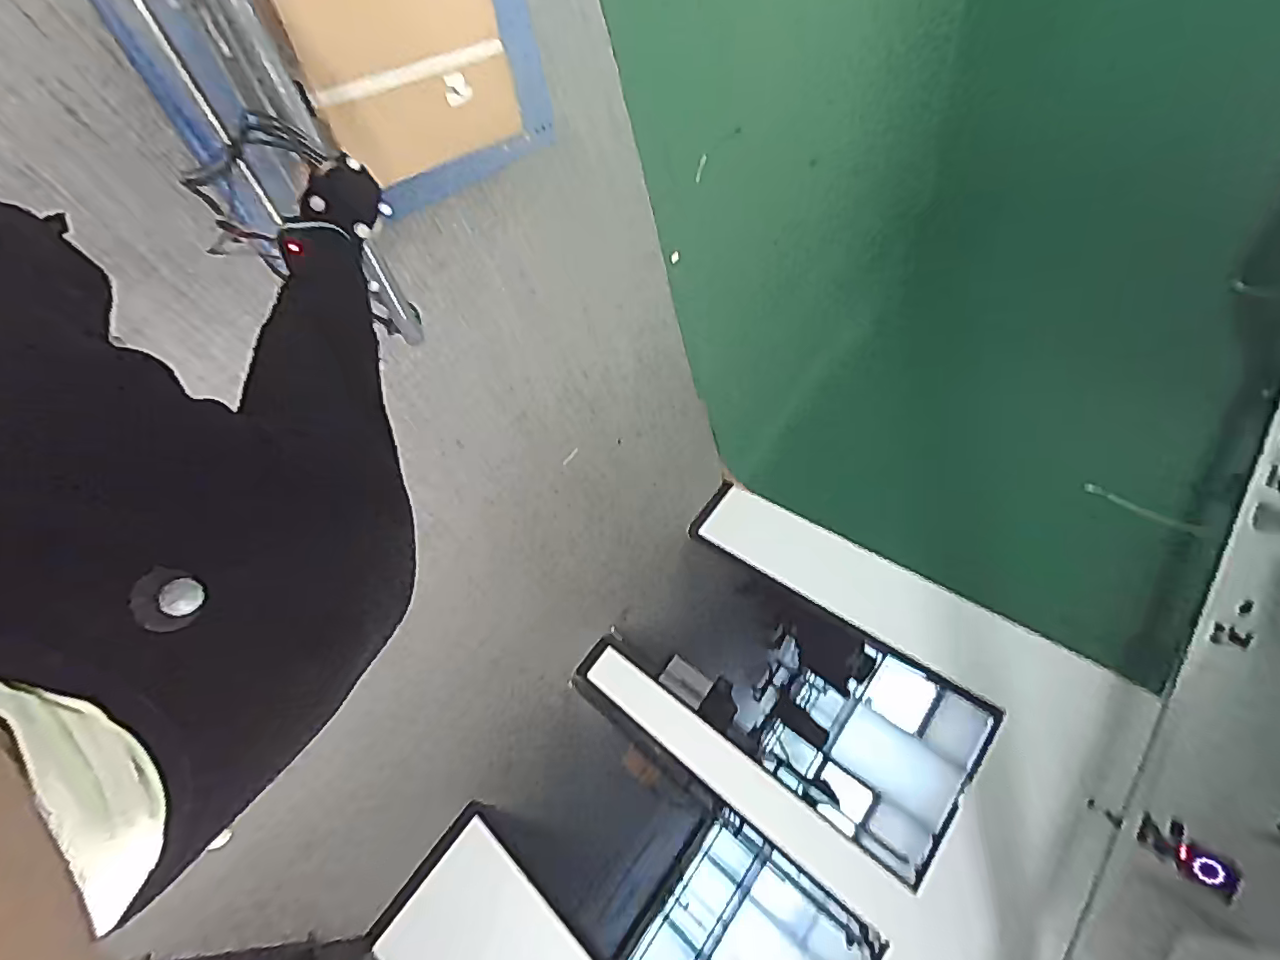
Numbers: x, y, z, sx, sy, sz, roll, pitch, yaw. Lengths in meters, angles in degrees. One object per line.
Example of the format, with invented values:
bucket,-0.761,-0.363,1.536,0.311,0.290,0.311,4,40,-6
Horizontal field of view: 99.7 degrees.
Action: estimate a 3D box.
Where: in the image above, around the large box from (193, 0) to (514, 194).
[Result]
large box,-0.535,-0.816,1.069,0.408,0.320,0.320,-43,145,-28
